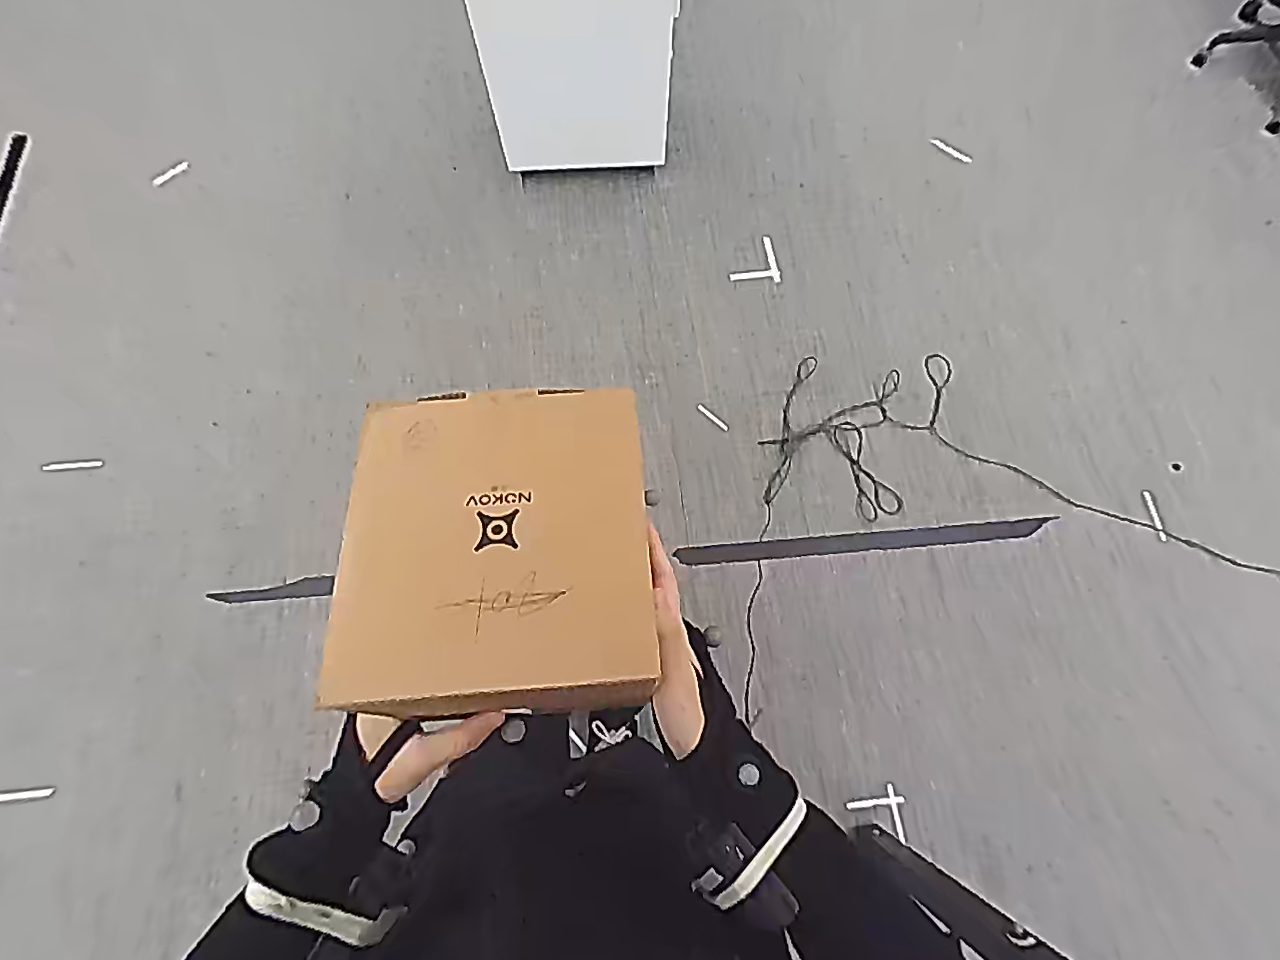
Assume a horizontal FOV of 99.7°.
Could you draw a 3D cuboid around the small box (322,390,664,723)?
[{"bbox_3d":[-0.077,0.060,0.367,0.168,0.176,0.179,-3,64,-3],"label":"small box"}]
